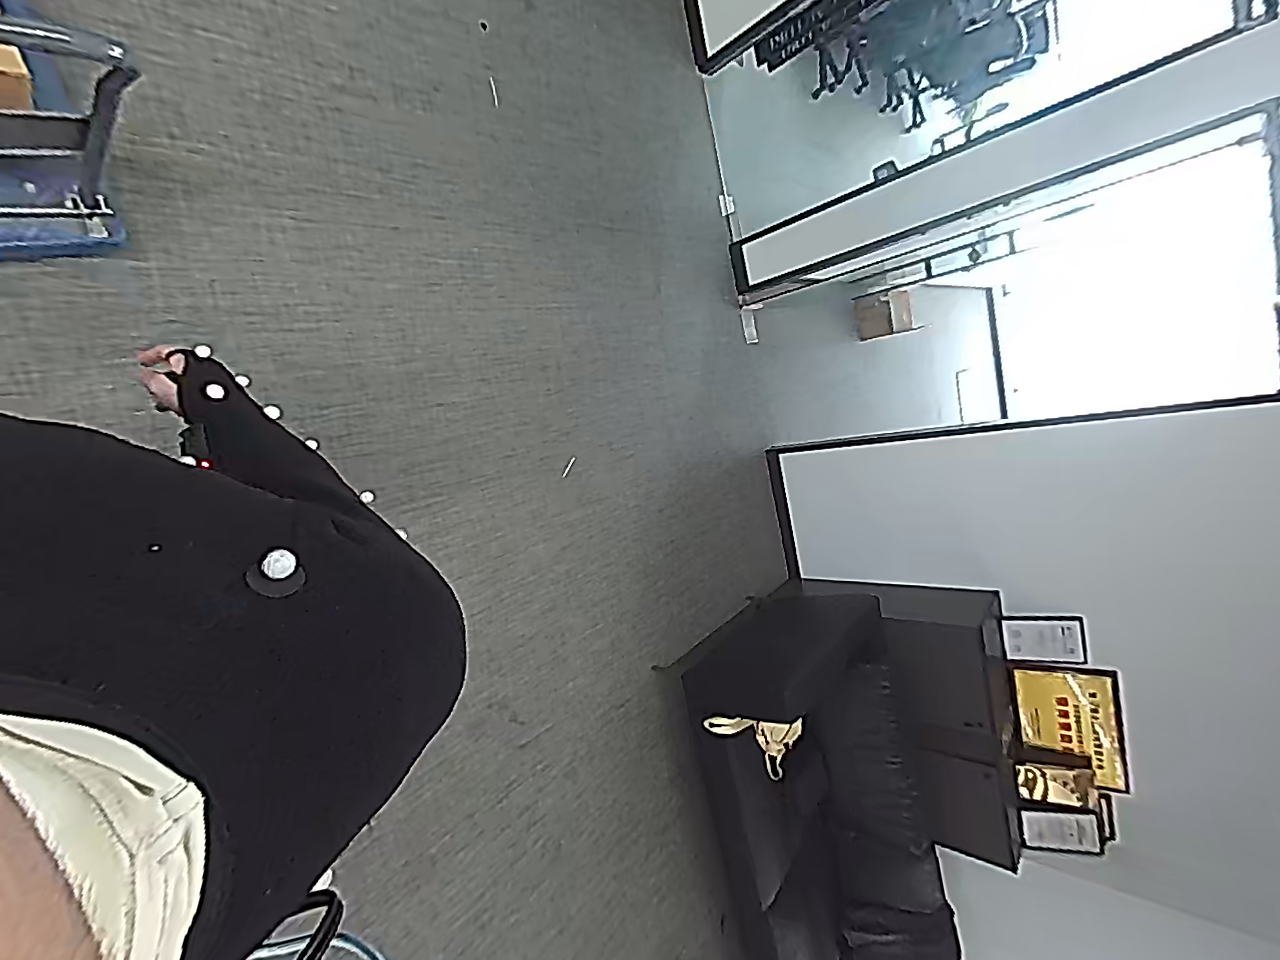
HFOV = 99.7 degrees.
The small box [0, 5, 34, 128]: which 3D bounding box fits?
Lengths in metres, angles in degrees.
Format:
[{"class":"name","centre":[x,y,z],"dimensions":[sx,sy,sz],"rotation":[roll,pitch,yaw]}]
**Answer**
[{"class":"small box","centre":[-1.172,-0.734,0.906],"dimensions":[0.168,0.176,0.179],"rotation":[-27,107,-44]}]
